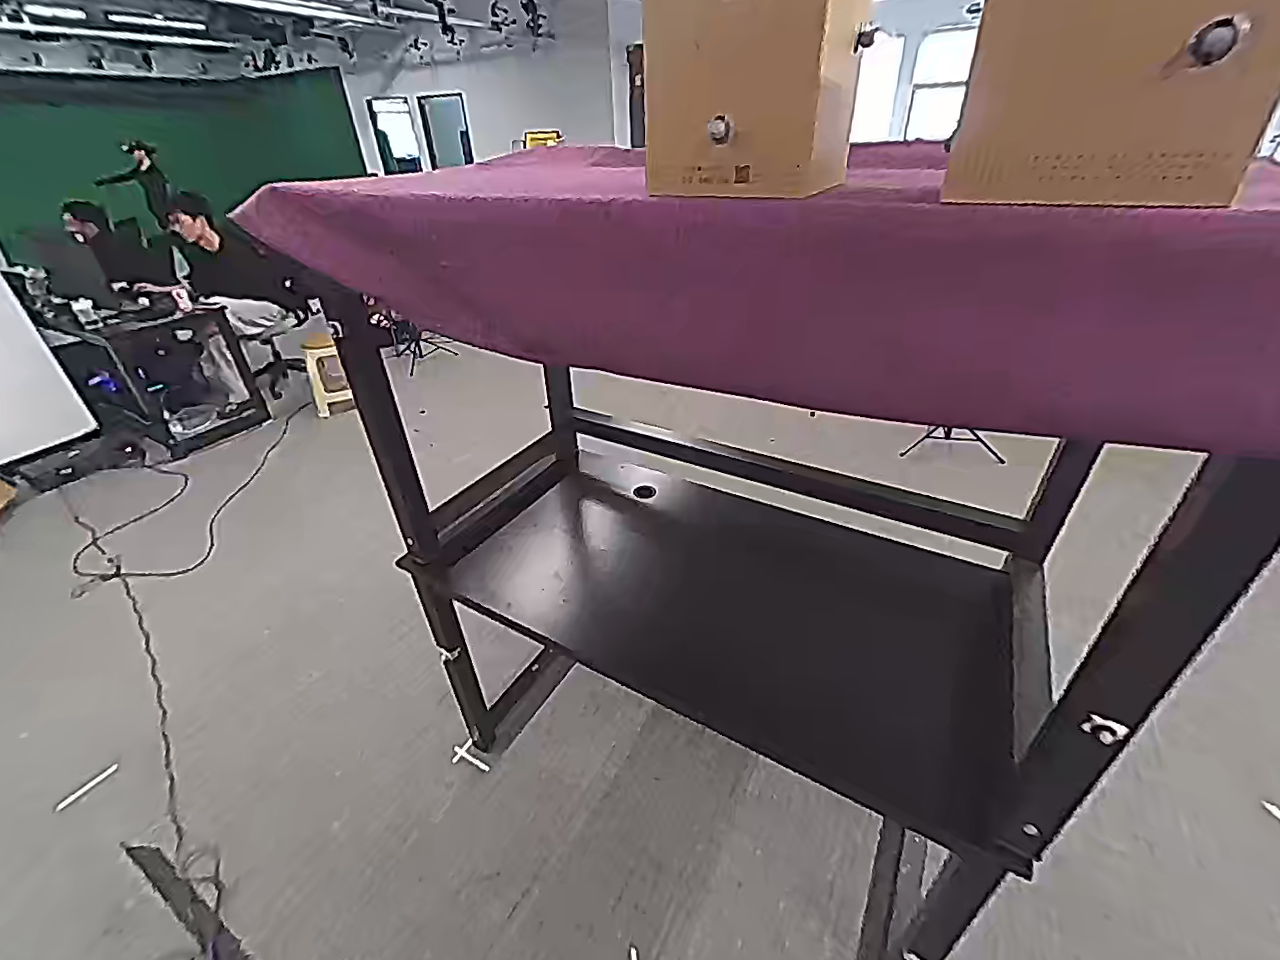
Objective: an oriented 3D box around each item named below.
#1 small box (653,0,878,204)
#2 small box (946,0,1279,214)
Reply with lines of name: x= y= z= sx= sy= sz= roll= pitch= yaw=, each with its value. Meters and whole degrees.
small box: x=0.120 y=-0.379 z=0.536 sx=0.168 sy=0.176 sz=0.179 roll=15 pitch=36 yaw=25
small box: x=0.354 y=-0.299 z=0.400 sx=0.179 sy=0.176 sz=0.168 roll=17 pitch=36 yaw=29
